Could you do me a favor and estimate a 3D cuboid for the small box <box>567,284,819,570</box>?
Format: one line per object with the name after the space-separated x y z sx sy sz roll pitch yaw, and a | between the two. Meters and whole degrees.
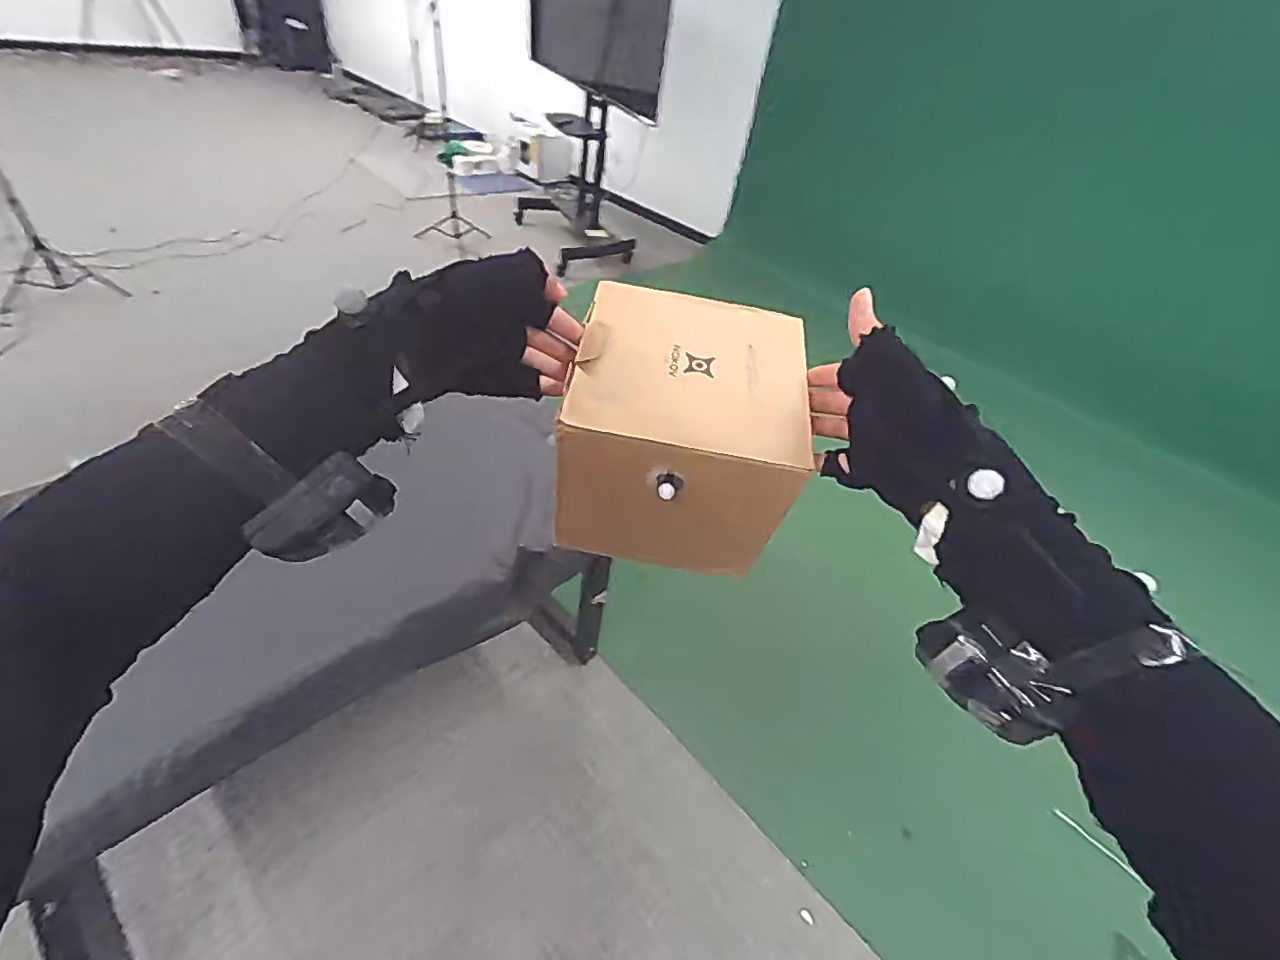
0.037 -0.038 0.473 0.179 0.176 0.168 12 54 -3 | small box
